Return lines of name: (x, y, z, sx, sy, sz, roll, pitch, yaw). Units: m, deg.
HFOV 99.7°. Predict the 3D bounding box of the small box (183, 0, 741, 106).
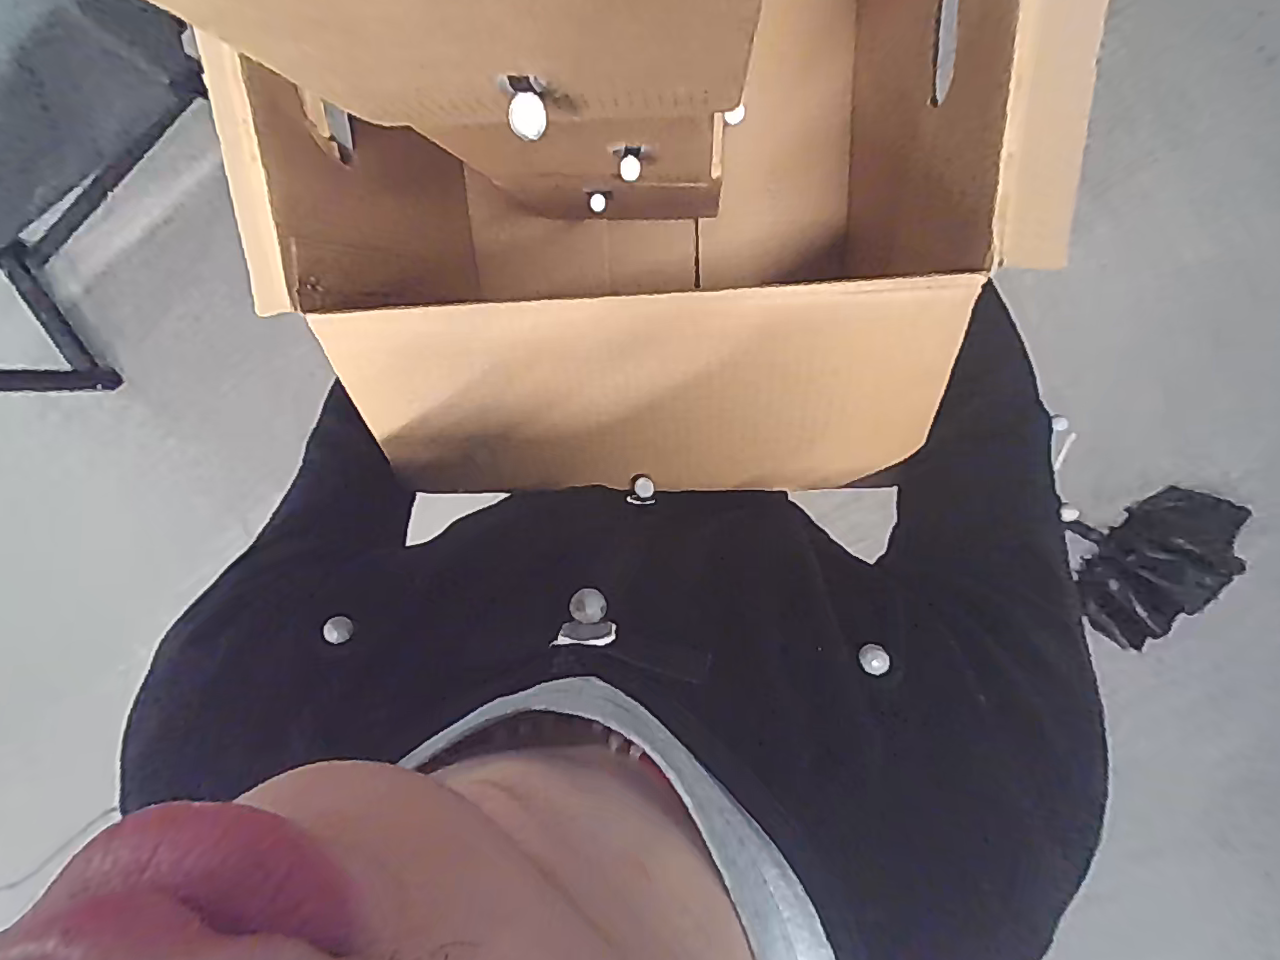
small box: (-0.052, -0.220, 0.139, 0.179, 0.176, 0.168, 1, 107, 5)
